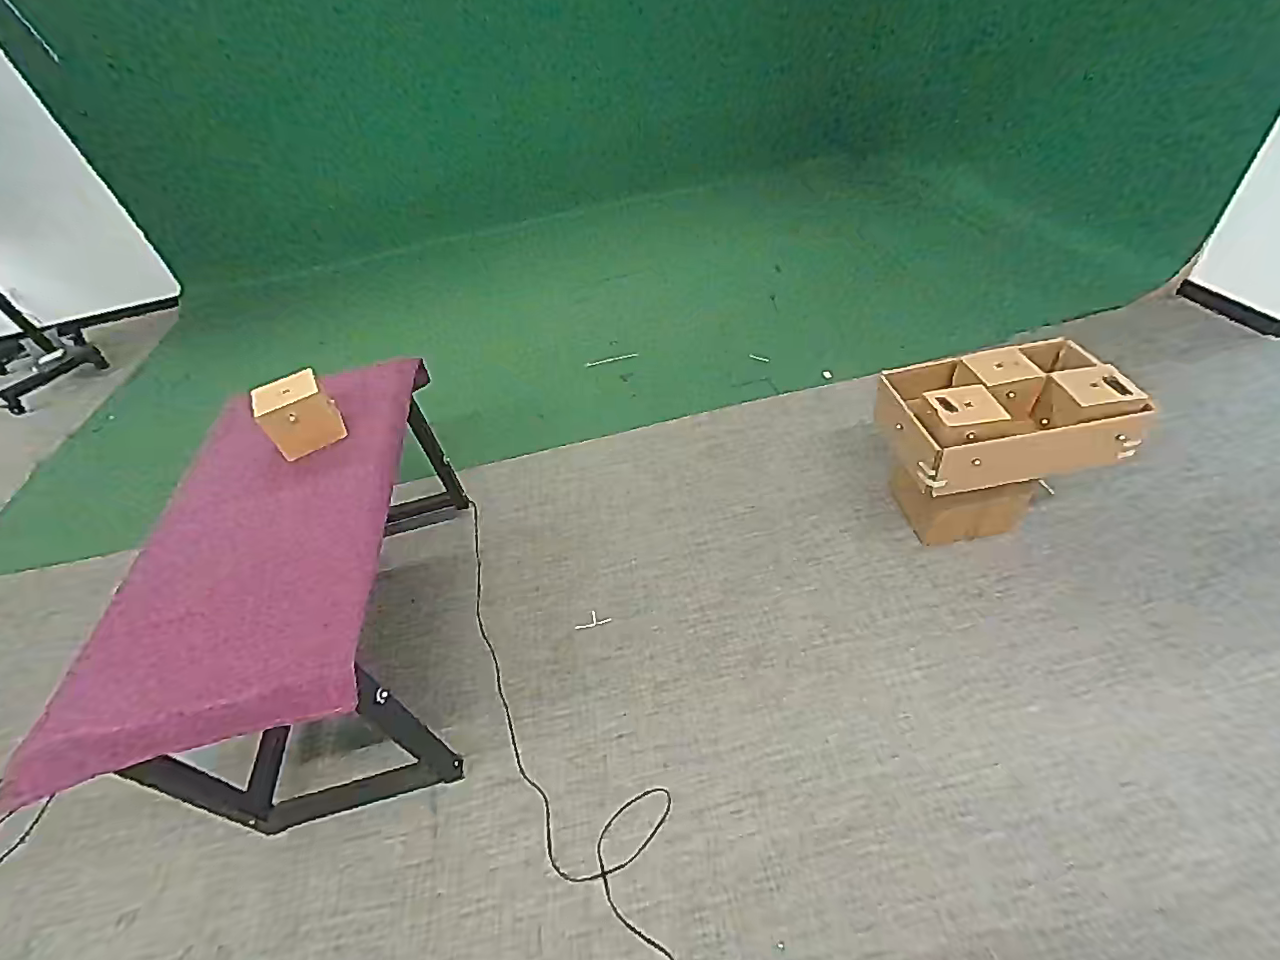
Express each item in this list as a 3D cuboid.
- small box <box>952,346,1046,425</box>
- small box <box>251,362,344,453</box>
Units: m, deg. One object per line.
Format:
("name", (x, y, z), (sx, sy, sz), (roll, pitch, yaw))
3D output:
("small box", (1.108, -0.290, 1.690), (0.179, 0.176, 0.168), (-10, 46, 2))
("small box", (-0.999, -0.211, 1.591), (0.179, 0.176, 0.168), (-29, 48, -16))
